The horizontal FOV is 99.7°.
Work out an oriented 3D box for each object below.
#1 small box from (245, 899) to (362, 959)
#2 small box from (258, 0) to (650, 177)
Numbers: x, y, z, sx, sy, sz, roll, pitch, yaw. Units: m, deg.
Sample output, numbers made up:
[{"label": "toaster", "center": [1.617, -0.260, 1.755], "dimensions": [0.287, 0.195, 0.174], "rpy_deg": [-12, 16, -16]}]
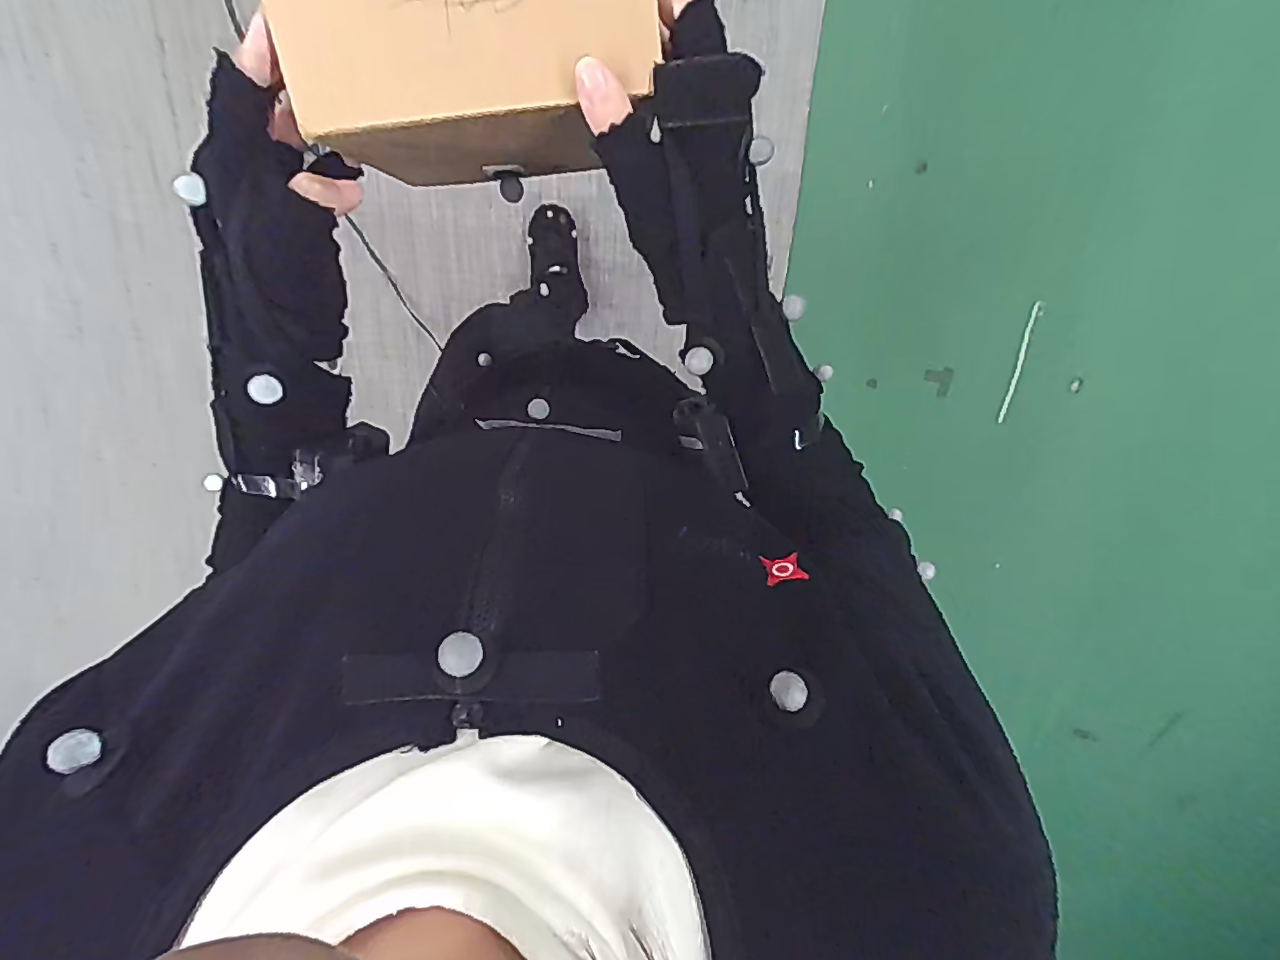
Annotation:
[{"label": "small box", "center": [-0.658, 0.959, 1.047], "dimensions": [0.168, 0.176, 0.179], "rpy_deg": [6, 110, -6]}, {"label": "small box", "center": [-0.088, -0.281, 0.288], "dimensions": [0.168, 0.176, 0.179], "rpy_deg": [-7, 111, 0]}]
